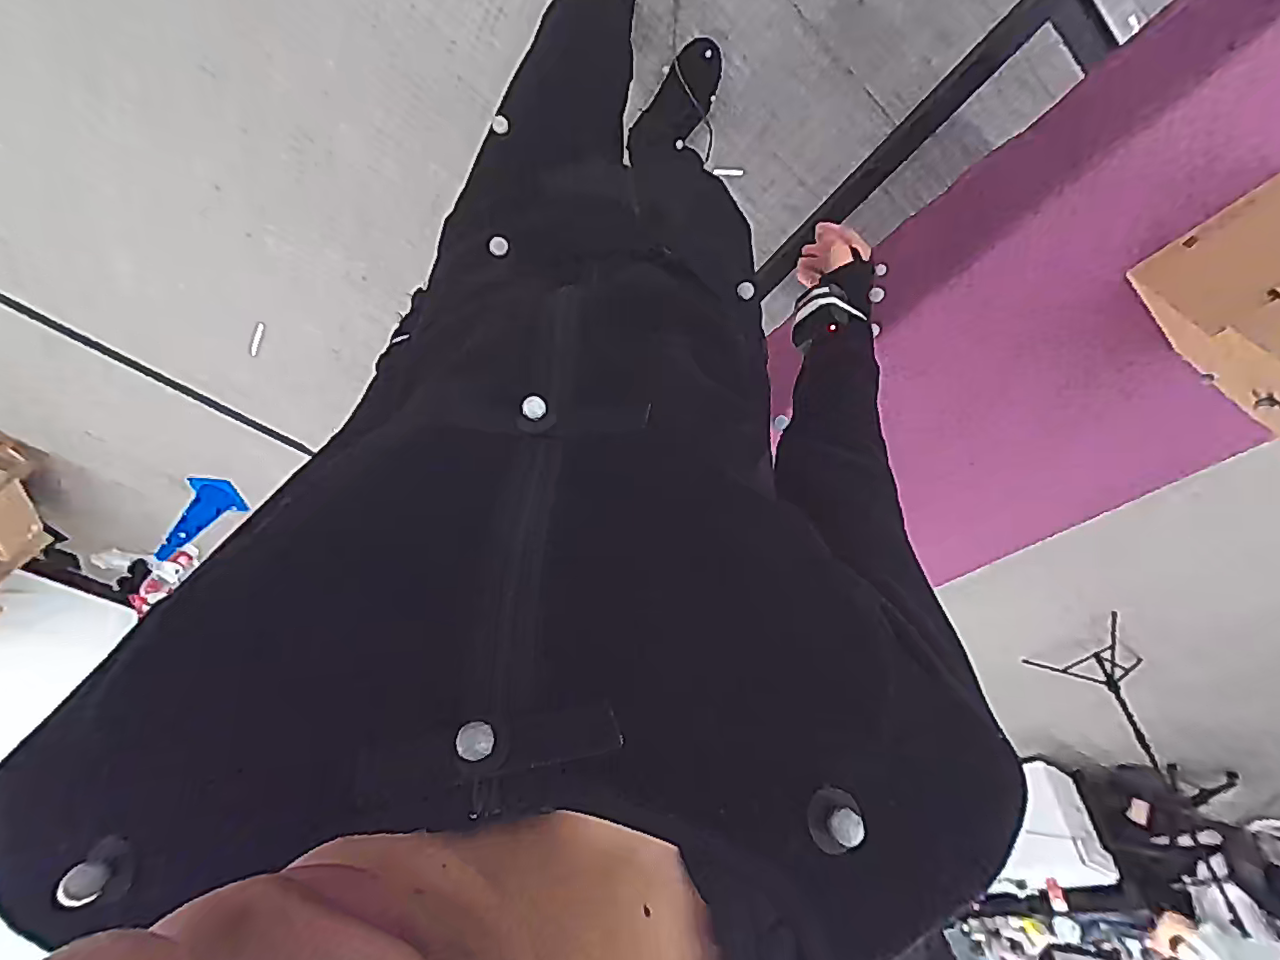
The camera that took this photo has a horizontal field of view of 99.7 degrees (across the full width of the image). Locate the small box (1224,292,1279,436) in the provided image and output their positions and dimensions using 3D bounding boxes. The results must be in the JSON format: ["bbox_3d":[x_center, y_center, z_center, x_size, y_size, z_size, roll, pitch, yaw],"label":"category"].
[{"bbox_3d":[0.729,-0.110,0.509,0.179,0.176,0.168,-33,122,33],"label":"small box"}]
